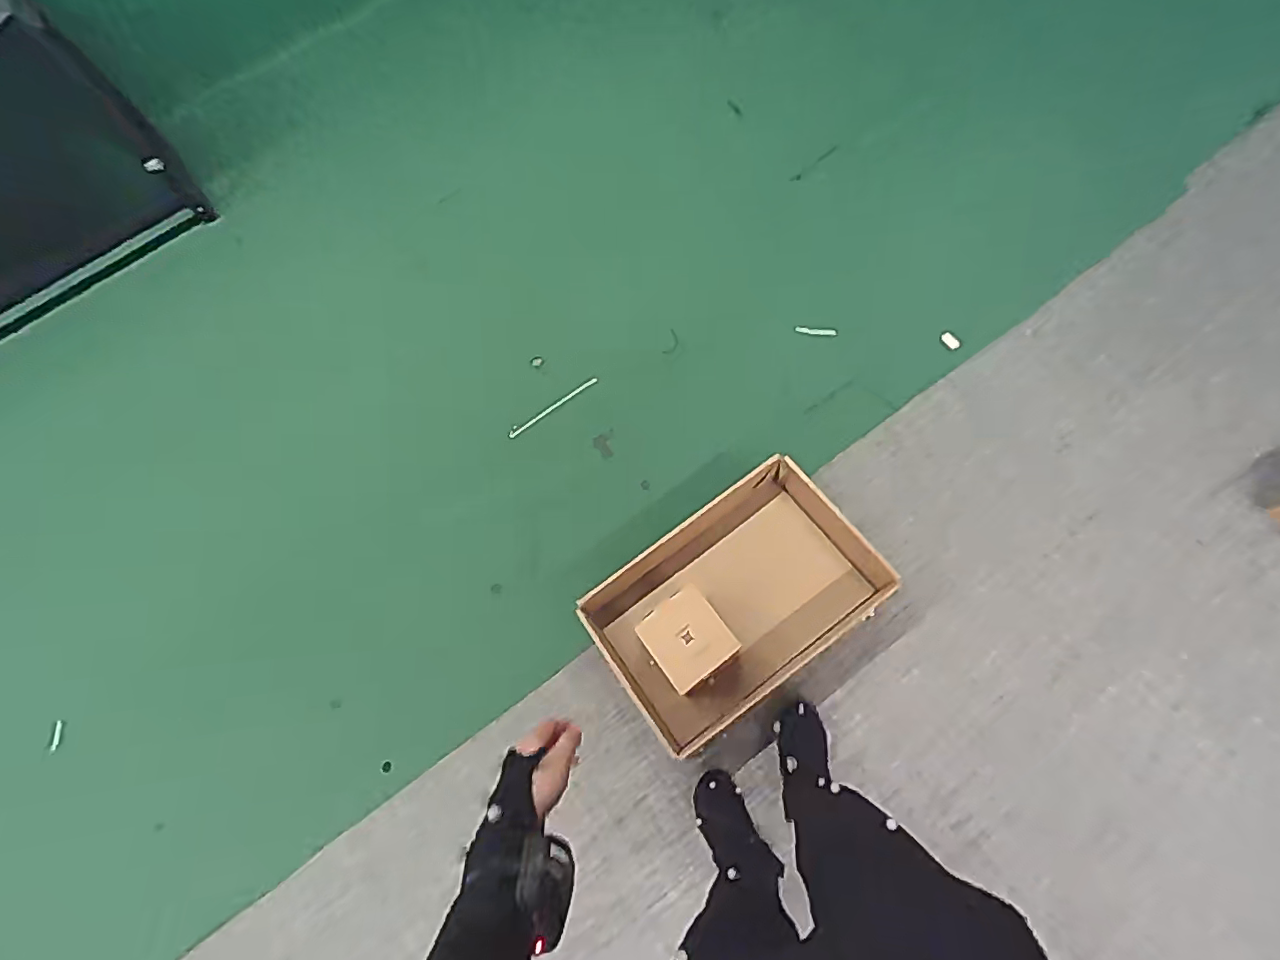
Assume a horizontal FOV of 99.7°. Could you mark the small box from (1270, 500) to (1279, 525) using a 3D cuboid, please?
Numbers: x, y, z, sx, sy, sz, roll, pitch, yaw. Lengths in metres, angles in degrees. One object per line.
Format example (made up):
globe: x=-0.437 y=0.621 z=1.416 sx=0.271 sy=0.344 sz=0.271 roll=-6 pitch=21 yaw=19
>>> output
small box: x=1.573 y=0.062 z=1.177 sx=0.179 sy=0.176 sz=0.168 roll=-31 pitch=67 yaw=-5
